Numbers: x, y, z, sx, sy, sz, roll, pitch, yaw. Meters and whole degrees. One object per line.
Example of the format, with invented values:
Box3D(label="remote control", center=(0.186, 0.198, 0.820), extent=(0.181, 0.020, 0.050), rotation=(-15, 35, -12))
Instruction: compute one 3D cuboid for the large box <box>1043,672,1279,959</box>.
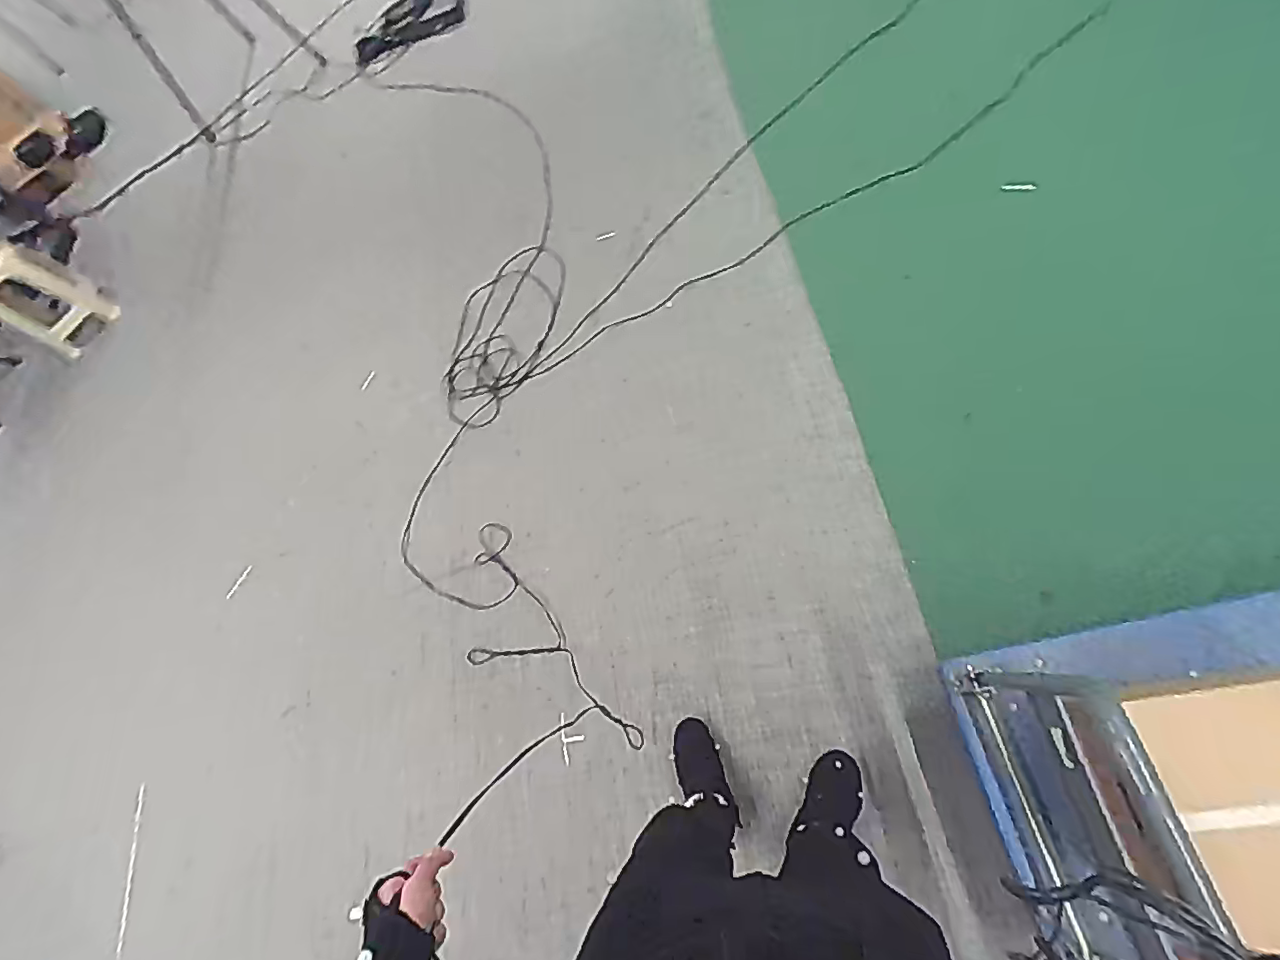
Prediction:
Box3D(label="large box", center=(0.969, 0.488, 0.848), extent=(0.408, 0.320, 0.320), rotation=(-13, 67, 10))
